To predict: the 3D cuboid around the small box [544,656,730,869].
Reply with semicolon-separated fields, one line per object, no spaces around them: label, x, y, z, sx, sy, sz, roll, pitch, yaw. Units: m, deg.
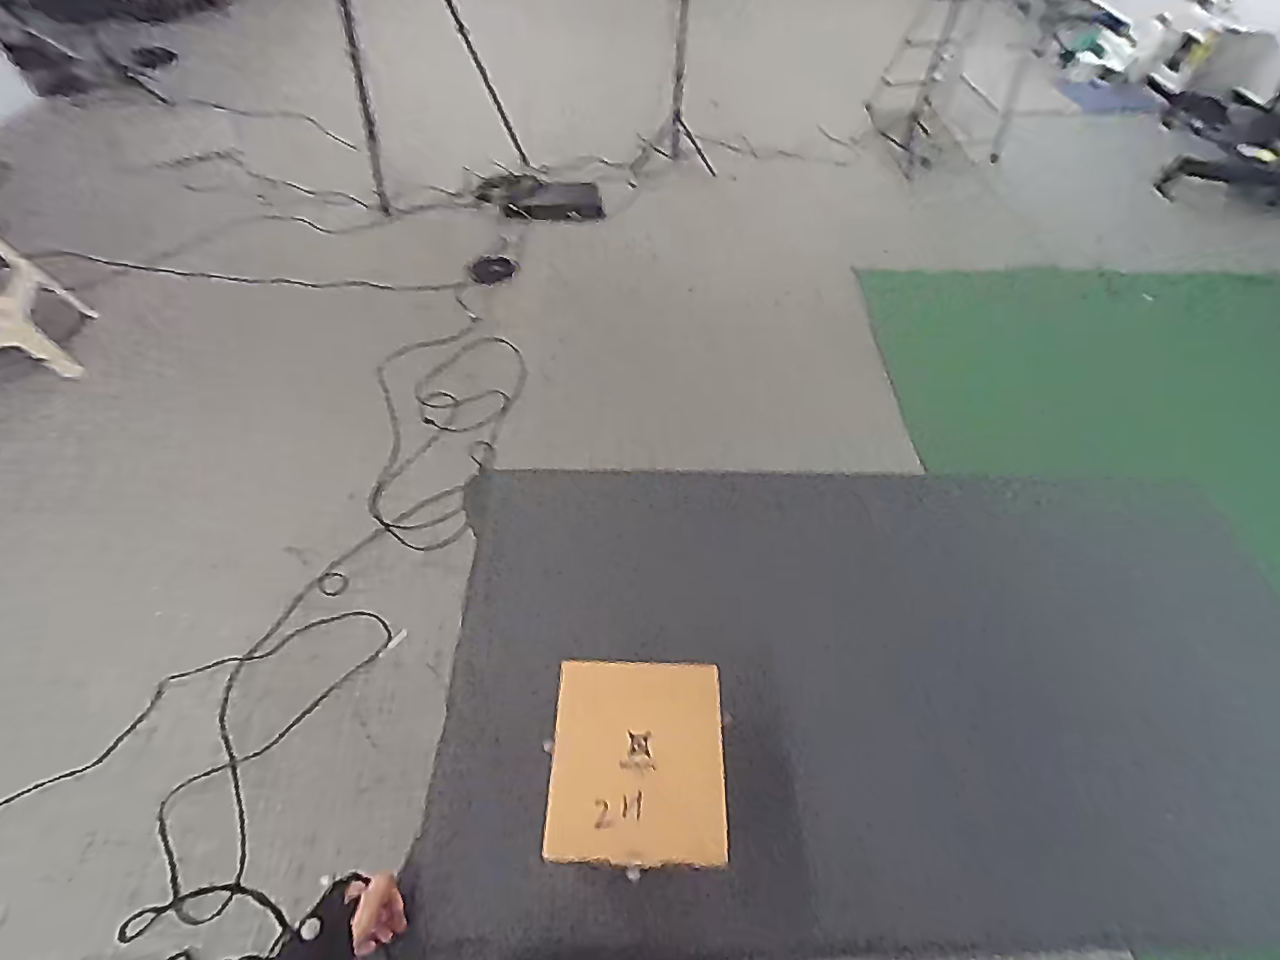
small box;-0.004;0.306;0.581;0.168;0.176;0.179;3;54;-1
